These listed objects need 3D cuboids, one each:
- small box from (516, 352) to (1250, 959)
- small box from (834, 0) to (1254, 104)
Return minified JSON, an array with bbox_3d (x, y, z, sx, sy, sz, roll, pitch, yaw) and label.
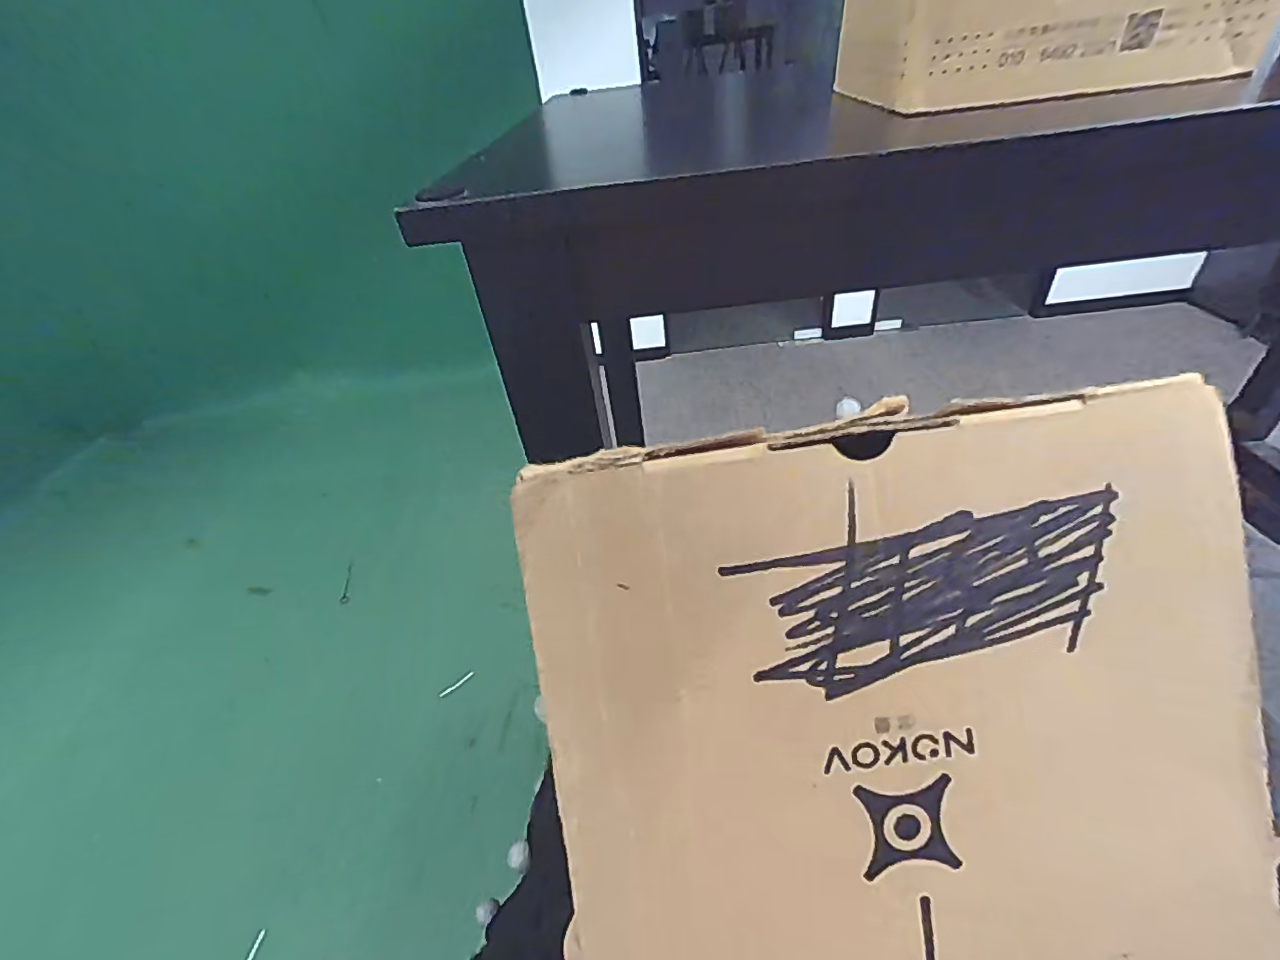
[{"bbox_3d":[0.059,0.062,0.212,0.168,0.179,0.176,-8,2,1],"label":"small box"},{"bbox_3d":[0.211,-0.315,0.290,0.168,0.176,0.179,-3,38,7],"label":"small box"}]
